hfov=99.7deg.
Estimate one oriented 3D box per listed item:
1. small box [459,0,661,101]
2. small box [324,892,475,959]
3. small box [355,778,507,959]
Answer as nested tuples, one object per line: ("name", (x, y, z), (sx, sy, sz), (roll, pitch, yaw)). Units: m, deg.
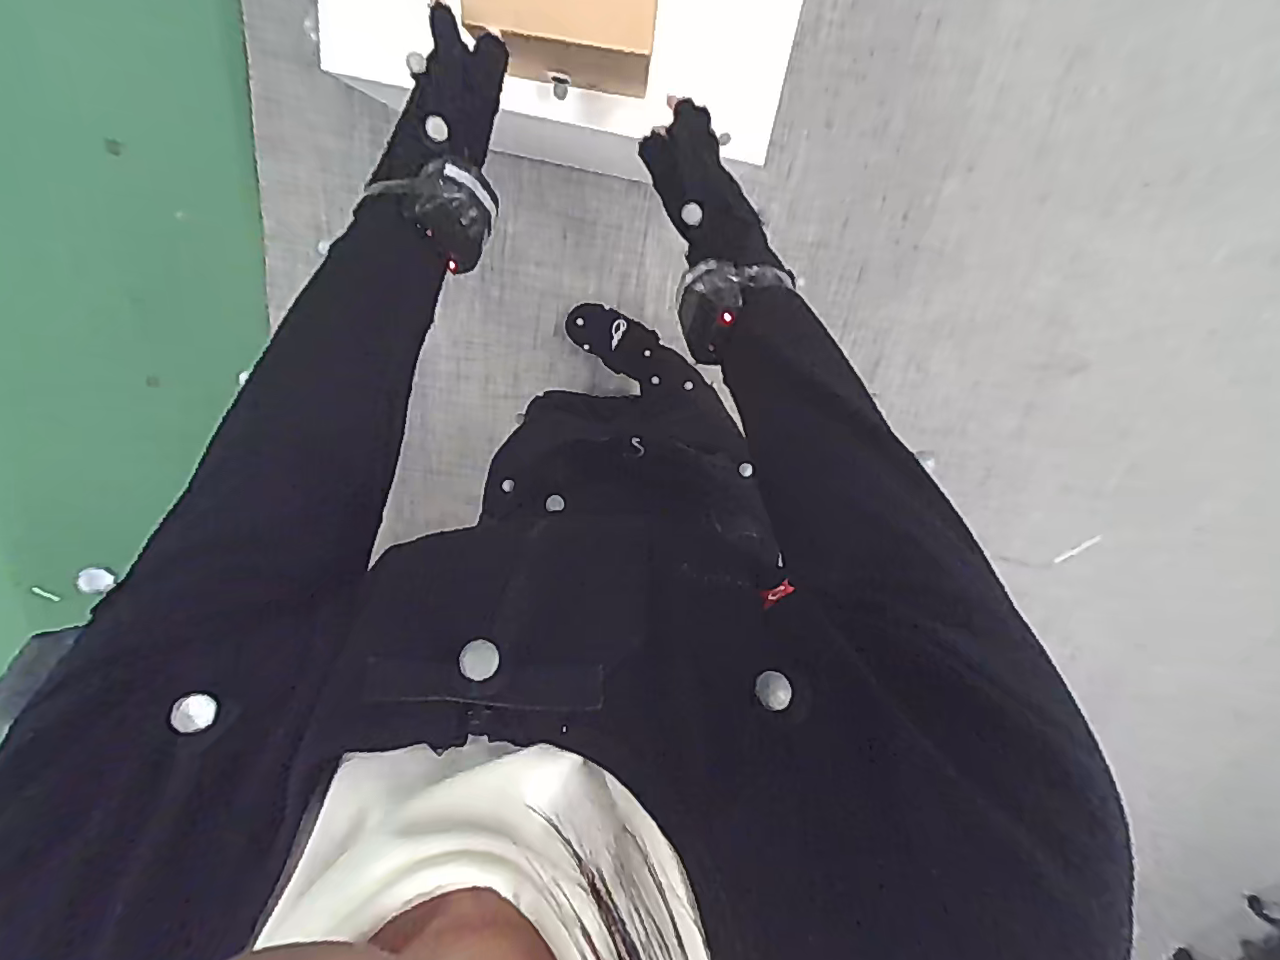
("small box", (-0.061, -0.481, 0.498), (0.168, 0.176, 0.179), (6, 115, -2))
("small box", (-0.315, 0.666, 0.682), (0.168, 0.176, 0.179), (9, 116, -4))
("small box", (-0.310, 0.589, 0.828), (0.179, 0.176, 0.168), (11, 114, -5))
